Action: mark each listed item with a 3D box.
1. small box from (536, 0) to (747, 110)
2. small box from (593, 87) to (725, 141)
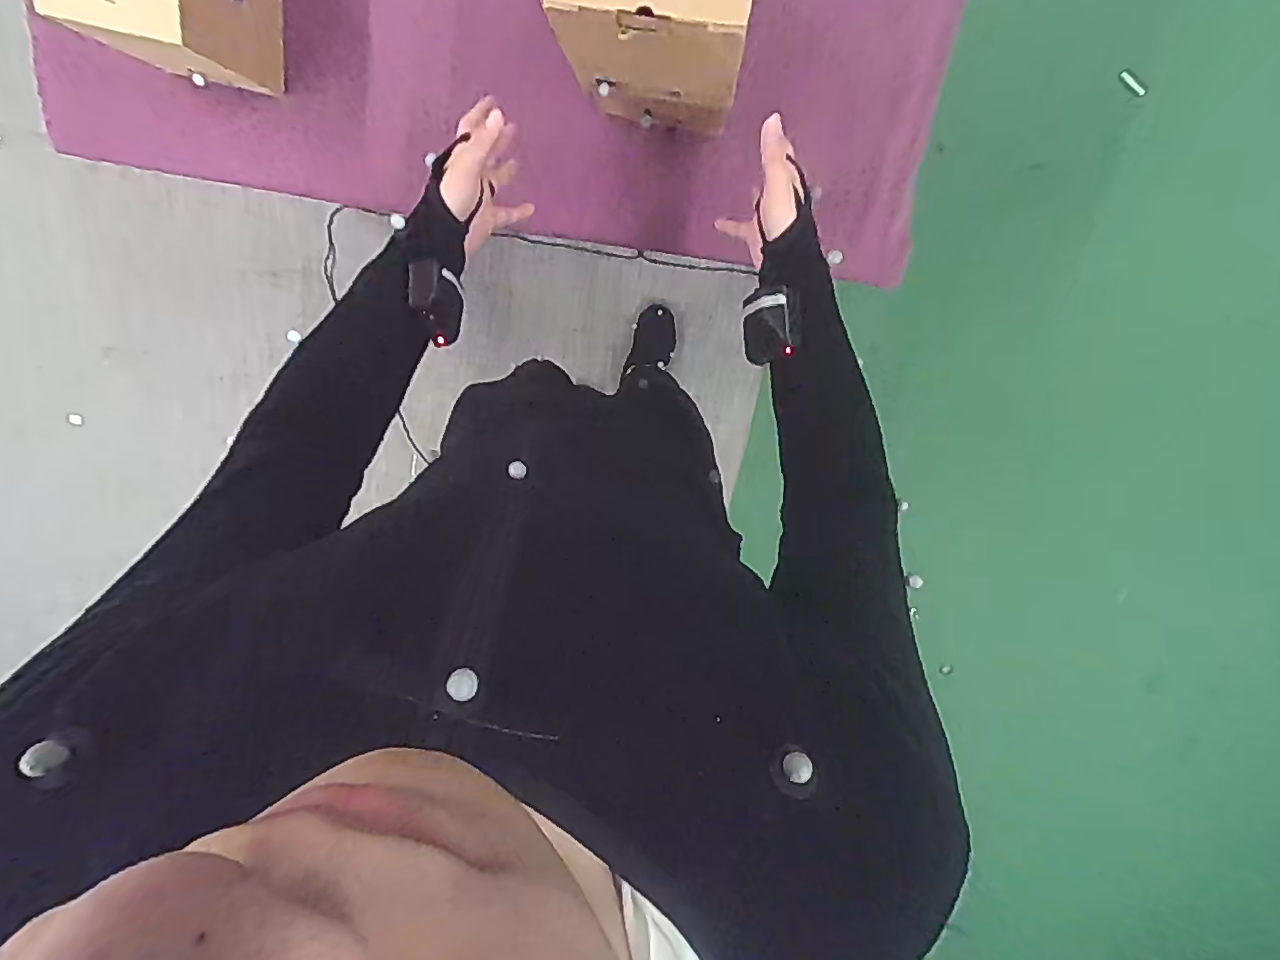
[{"bbox_3d":[0.017,-0.461,0.479,0.168,0.176,0.179,10,107,2],"label":"small box"},{"bbox_3d":[0.033,-0.529,0.628,0.168,0.176,0.179,12,108,1],"label":"small box"}]
